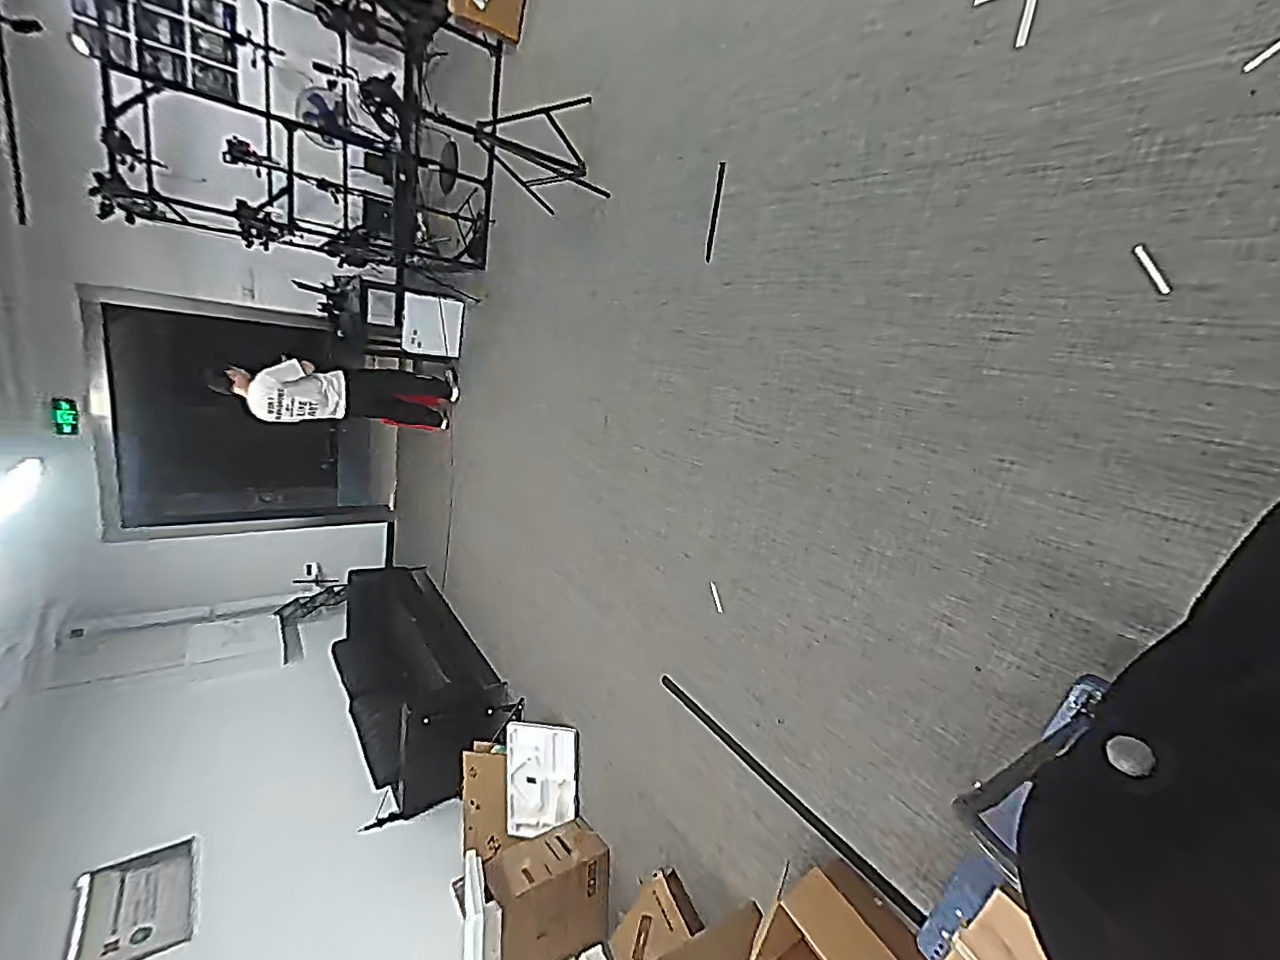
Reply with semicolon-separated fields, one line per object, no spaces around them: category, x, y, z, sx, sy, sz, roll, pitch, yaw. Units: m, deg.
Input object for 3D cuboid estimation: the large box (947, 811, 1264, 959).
large box;0.841;0.905;0.949;0.408;0.320;0.320;37;121;45
